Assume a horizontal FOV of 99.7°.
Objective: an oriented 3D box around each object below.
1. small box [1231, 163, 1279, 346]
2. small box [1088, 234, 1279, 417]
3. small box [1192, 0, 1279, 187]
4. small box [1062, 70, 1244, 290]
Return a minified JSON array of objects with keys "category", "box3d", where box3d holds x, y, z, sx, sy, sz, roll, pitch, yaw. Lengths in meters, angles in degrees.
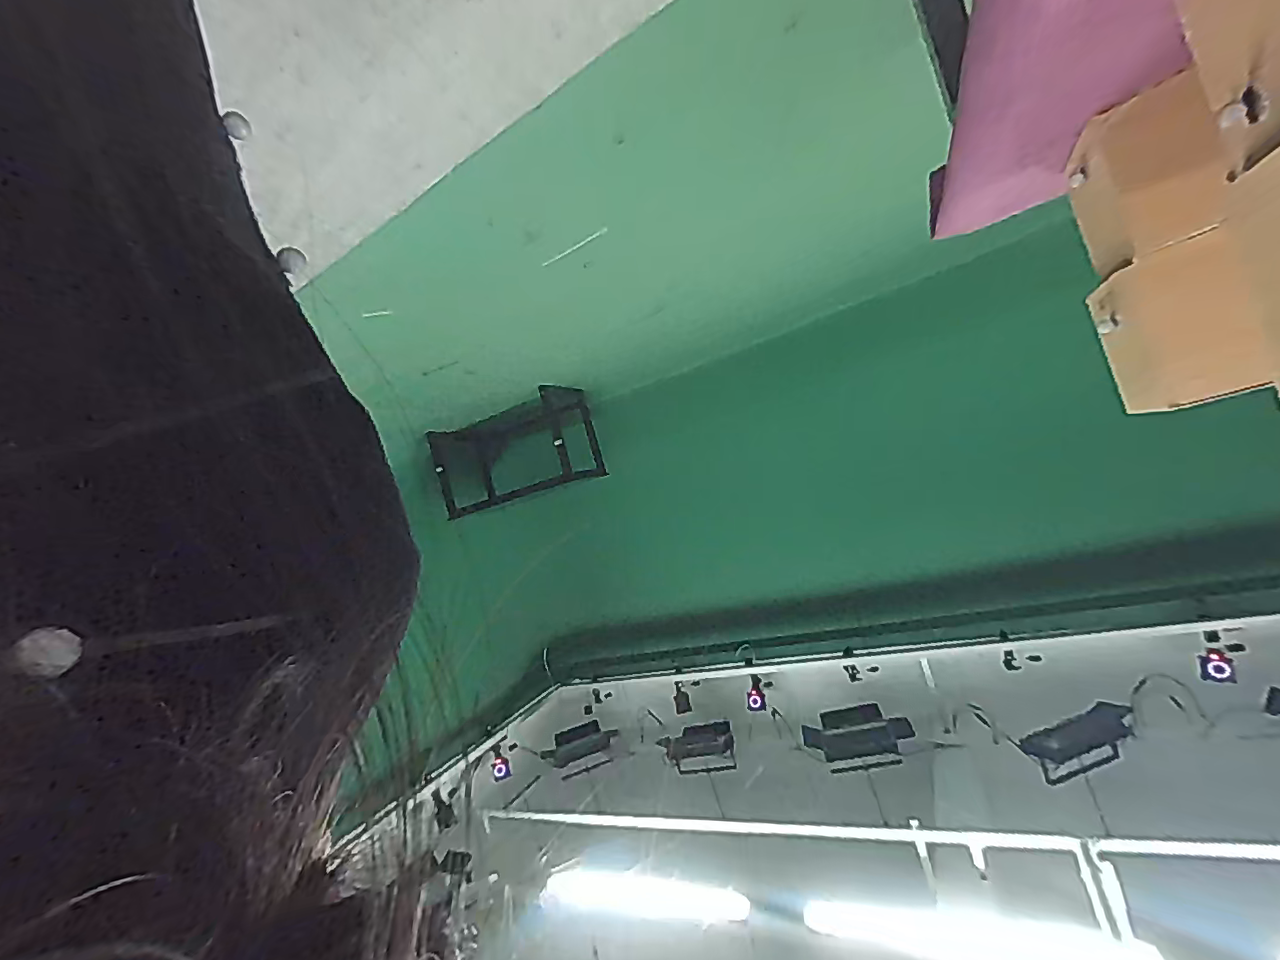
[{"category":"small box","box3d":[0.468,-0.135,0.277,0.168,0.176,0.179,-17,177,29]},{"category":"small box","box3d":[0.656,-0.178,0.612,0.179,0.176,0.168,-18,176,29]},{"category":"small box","box3d":[0.439,-0.298,0.278,0.168,0.176,0.179,-19,177,28]},{"category":"small box","box3d":[0.613,-0.337,0.599,0.179,0.176,0.168,-18,176,30]}]
